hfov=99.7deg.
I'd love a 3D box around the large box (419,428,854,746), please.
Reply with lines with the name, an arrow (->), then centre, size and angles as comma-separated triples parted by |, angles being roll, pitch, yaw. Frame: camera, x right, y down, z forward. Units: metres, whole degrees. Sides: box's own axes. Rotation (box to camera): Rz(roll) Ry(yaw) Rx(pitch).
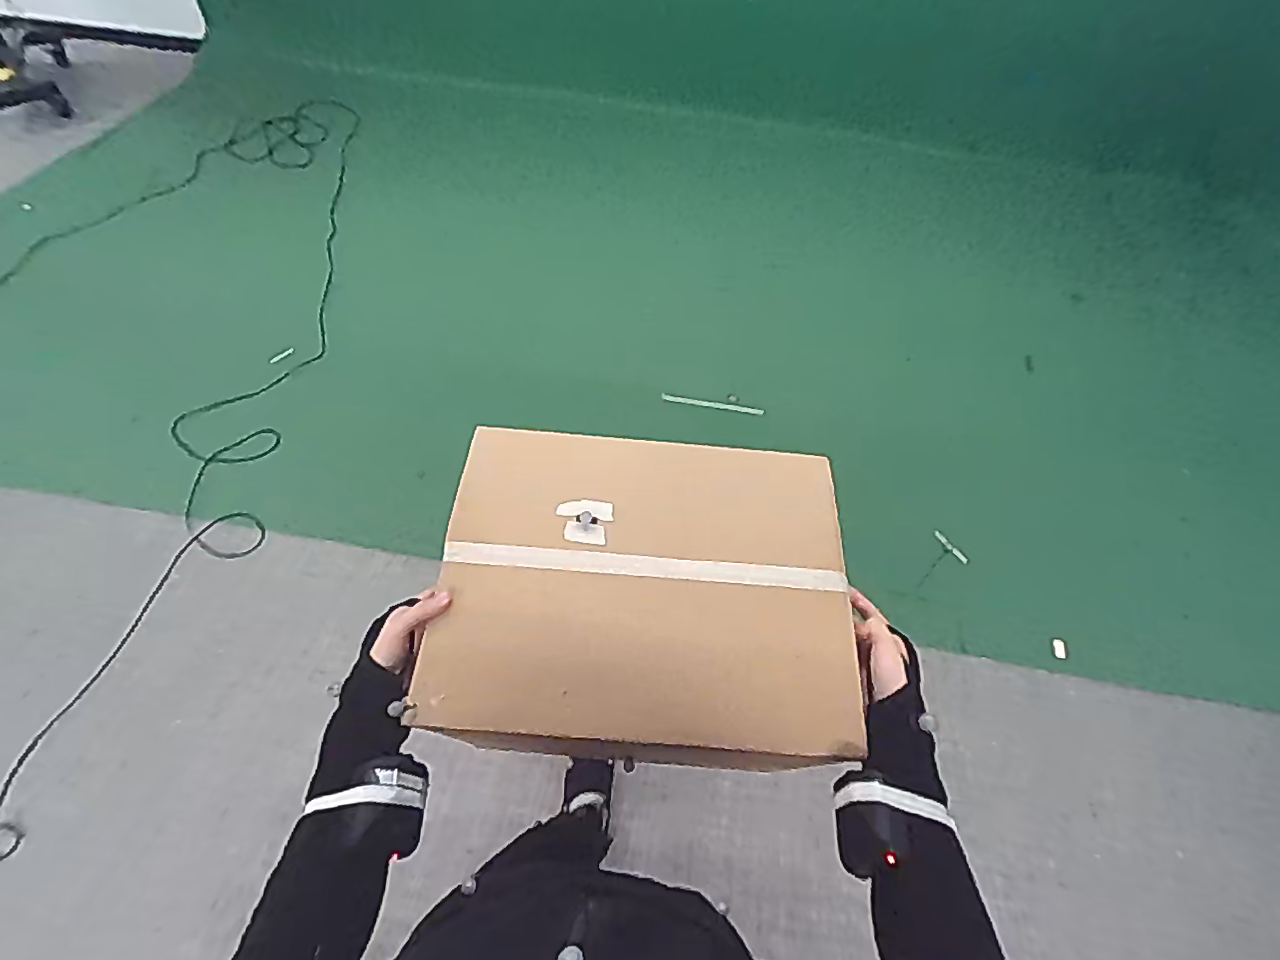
large box -> 0.002, 0.155, 0.689 | 0.408, 0.320, 0.320 | 4, 60, 0
